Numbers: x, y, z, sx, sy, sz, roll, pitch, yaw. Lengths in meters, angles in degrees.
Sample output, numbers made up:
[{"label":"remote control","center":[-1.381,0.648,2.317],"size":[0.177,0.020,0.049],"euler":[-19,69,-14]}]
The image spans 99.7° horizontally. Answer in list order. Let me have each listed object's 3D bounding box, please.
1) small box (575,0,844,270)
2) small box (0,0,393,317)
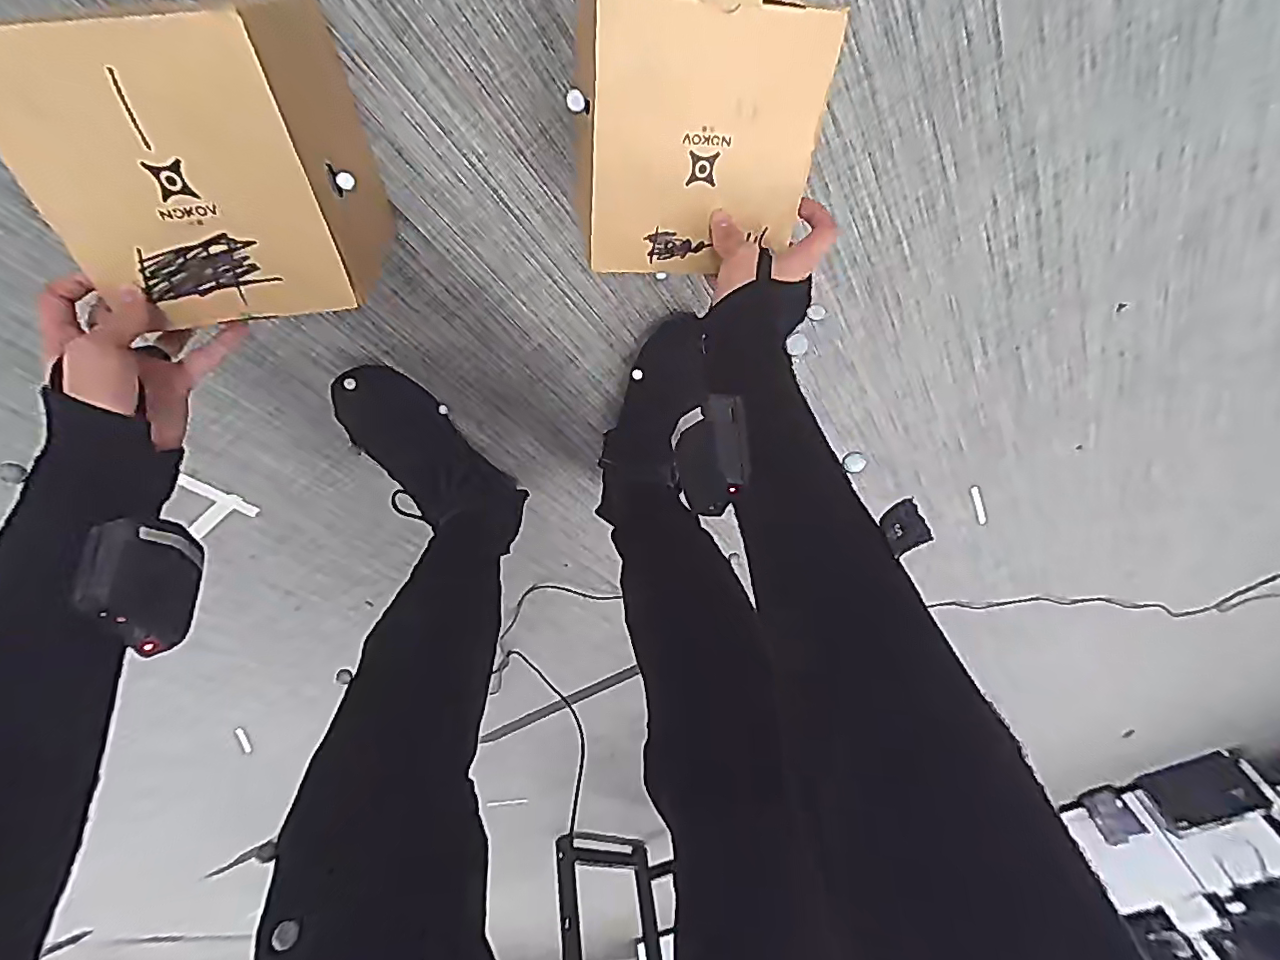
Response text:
[{"label":"small box","center":[0.034,-0.295,0.451],"size":[0.168,0.176,0.179],"euler":[-2,133,-10]},{"label":"small box","center":[-0.310,-0.250,0.414],"size":[0.168,0.176,0.179],"euler":[-9,134,-5]}]
